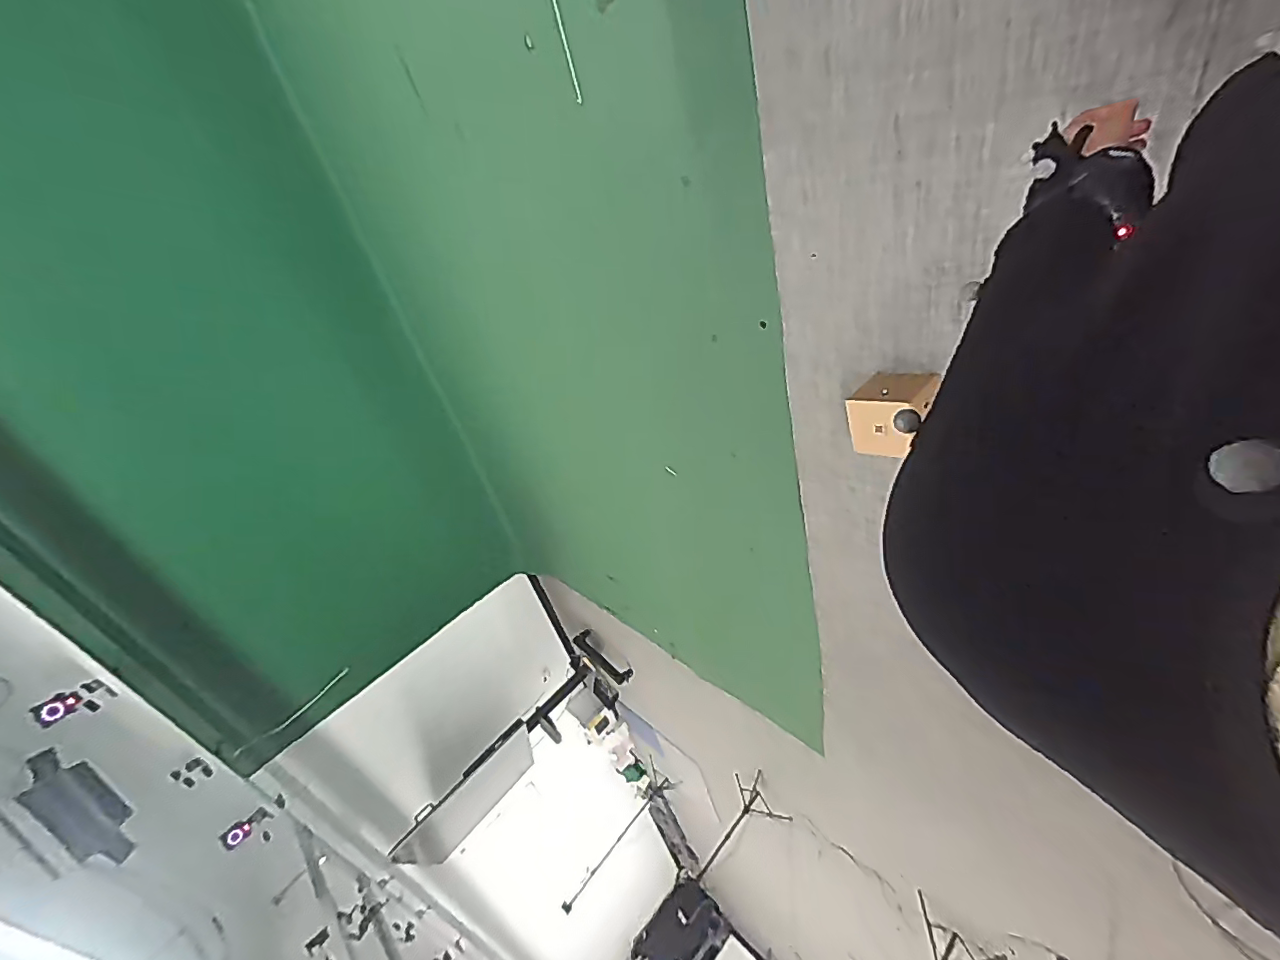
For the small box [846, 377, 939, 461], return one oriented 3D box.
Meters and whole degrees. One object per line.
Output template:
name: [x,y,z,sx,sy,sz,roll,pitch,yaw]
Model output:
small box: [0.688,-0.171,1.459,0.179,0.176,0.168,13,131,49]
